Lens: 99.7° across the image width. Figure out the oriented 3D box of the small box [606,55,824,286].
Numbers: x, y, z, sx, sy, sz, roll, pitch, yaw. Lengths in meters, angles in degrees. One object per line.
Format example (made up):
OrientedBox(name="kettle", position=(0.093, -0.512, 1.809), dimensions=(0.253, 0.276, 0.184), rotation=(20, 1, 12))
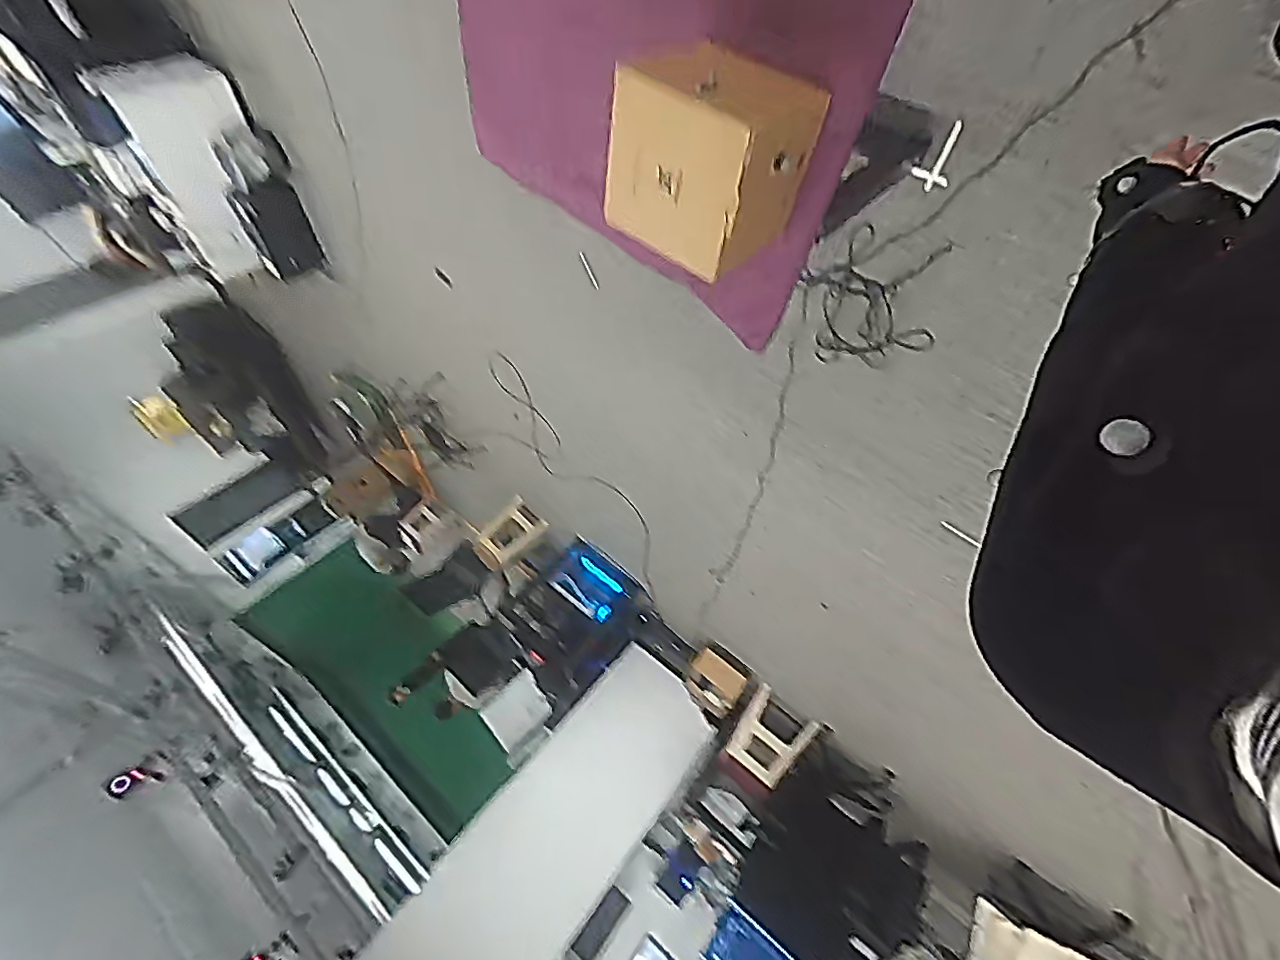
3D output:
OrientedBox(name="small box", position=(0.084, -0.367, 0.635), dimensions=(0.179, 0.176, 0.168), rotation=(37, 147, 18))
